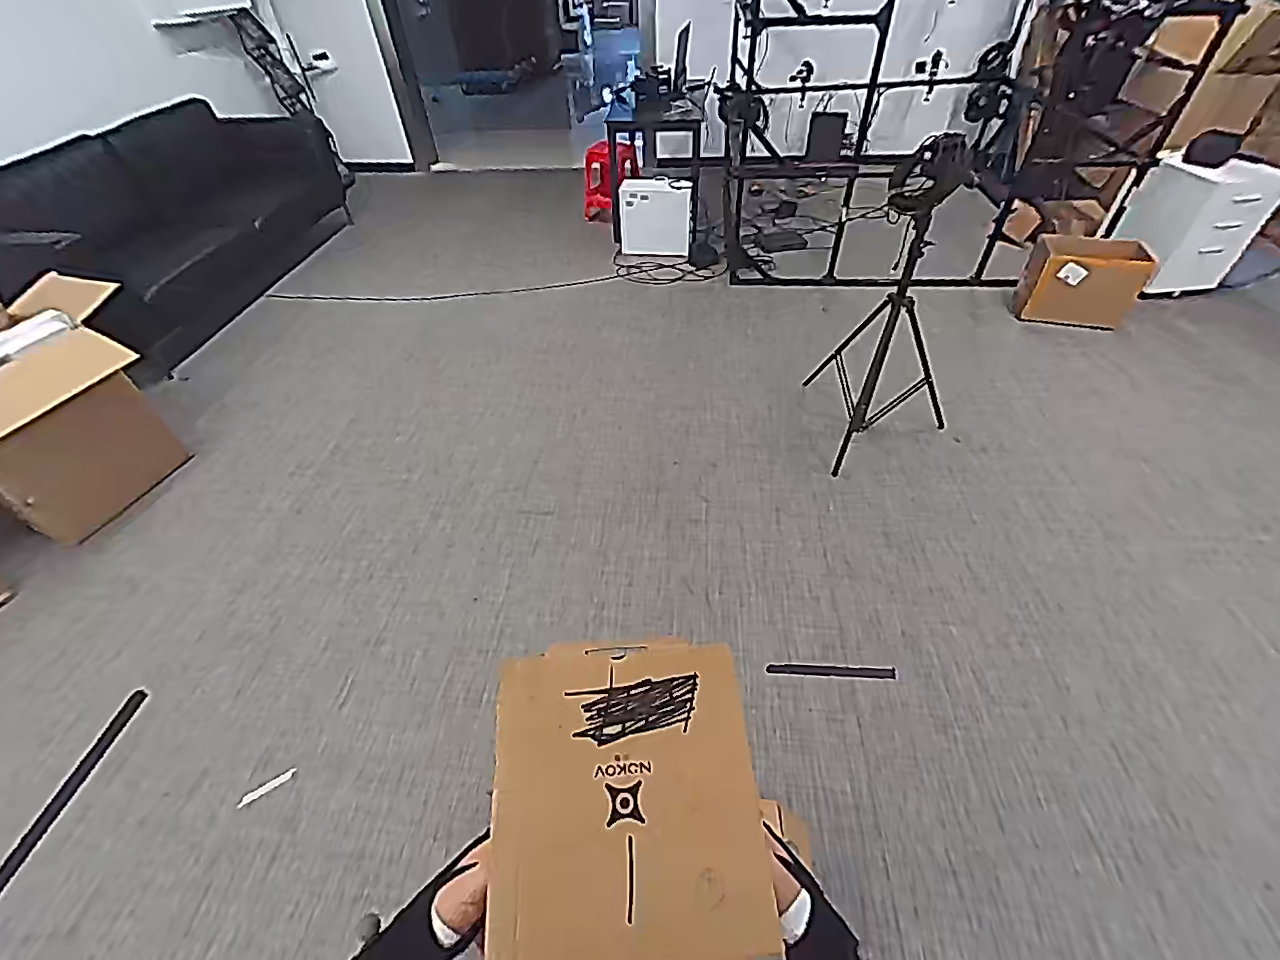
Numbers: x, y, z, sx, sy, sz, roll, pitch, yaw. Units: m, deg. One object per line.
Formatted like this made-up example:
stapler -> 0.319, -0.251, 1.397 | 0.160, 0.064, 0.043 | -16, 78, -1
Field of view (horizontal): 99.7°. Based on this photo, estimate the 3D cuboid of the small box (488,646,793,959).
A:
small box -> -0.009, 0.237, 0.396 | 0.168, 0.176, 0.179 | -2, 55, -5
